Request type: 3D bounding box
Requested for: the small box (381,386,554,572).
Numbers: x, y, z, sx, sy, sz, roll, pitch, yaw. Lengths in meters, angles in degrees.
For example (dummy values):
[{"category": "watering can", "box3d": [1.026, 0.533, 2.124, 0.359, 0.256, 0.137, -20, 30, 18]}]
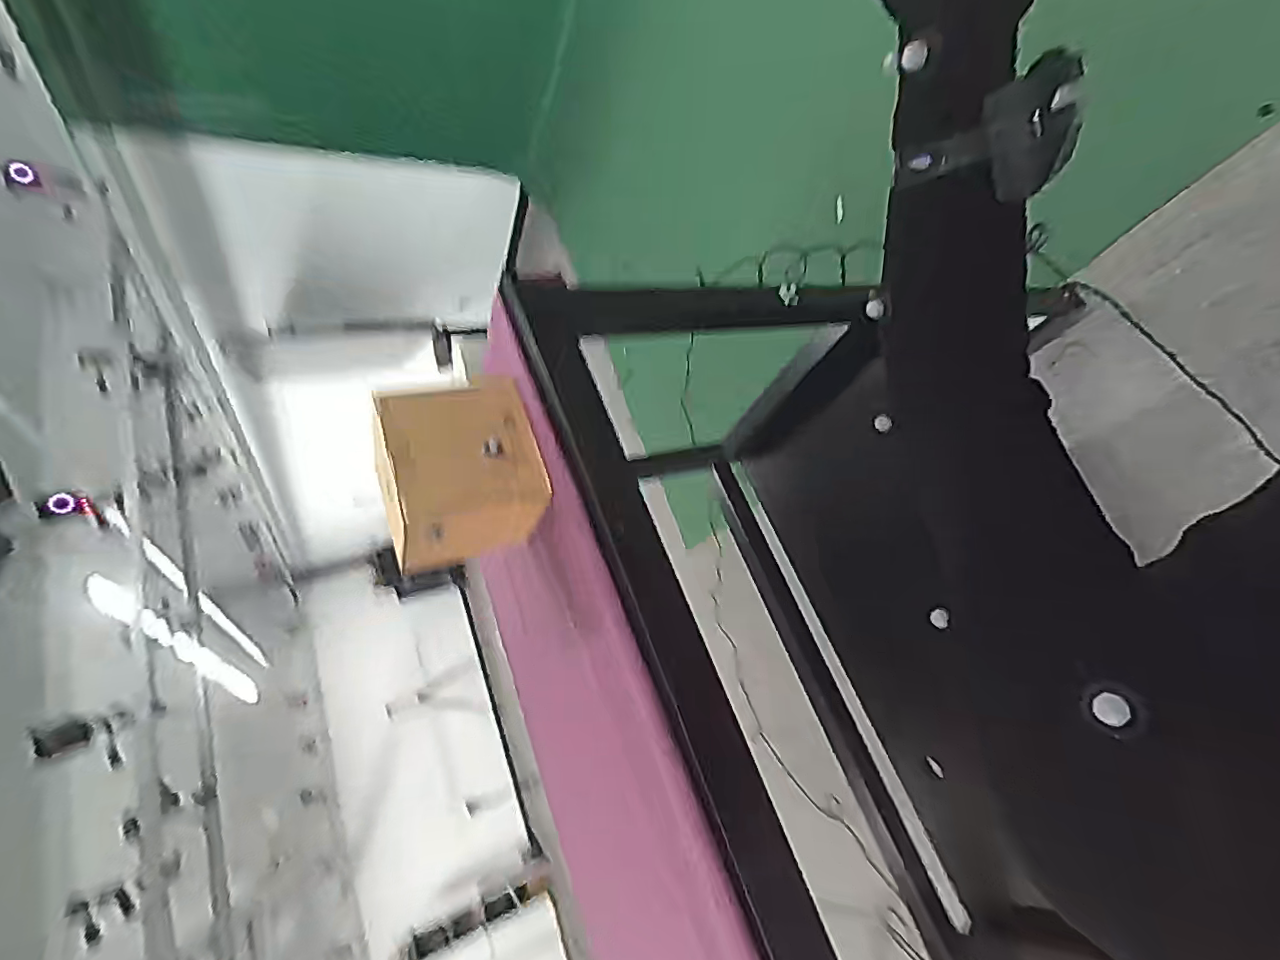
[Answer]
[{"category": "small box", "box3d": [-0.223, -0.002, 0.692, 0.179, 0.176, 0.168, -51, 57, 54]}]
